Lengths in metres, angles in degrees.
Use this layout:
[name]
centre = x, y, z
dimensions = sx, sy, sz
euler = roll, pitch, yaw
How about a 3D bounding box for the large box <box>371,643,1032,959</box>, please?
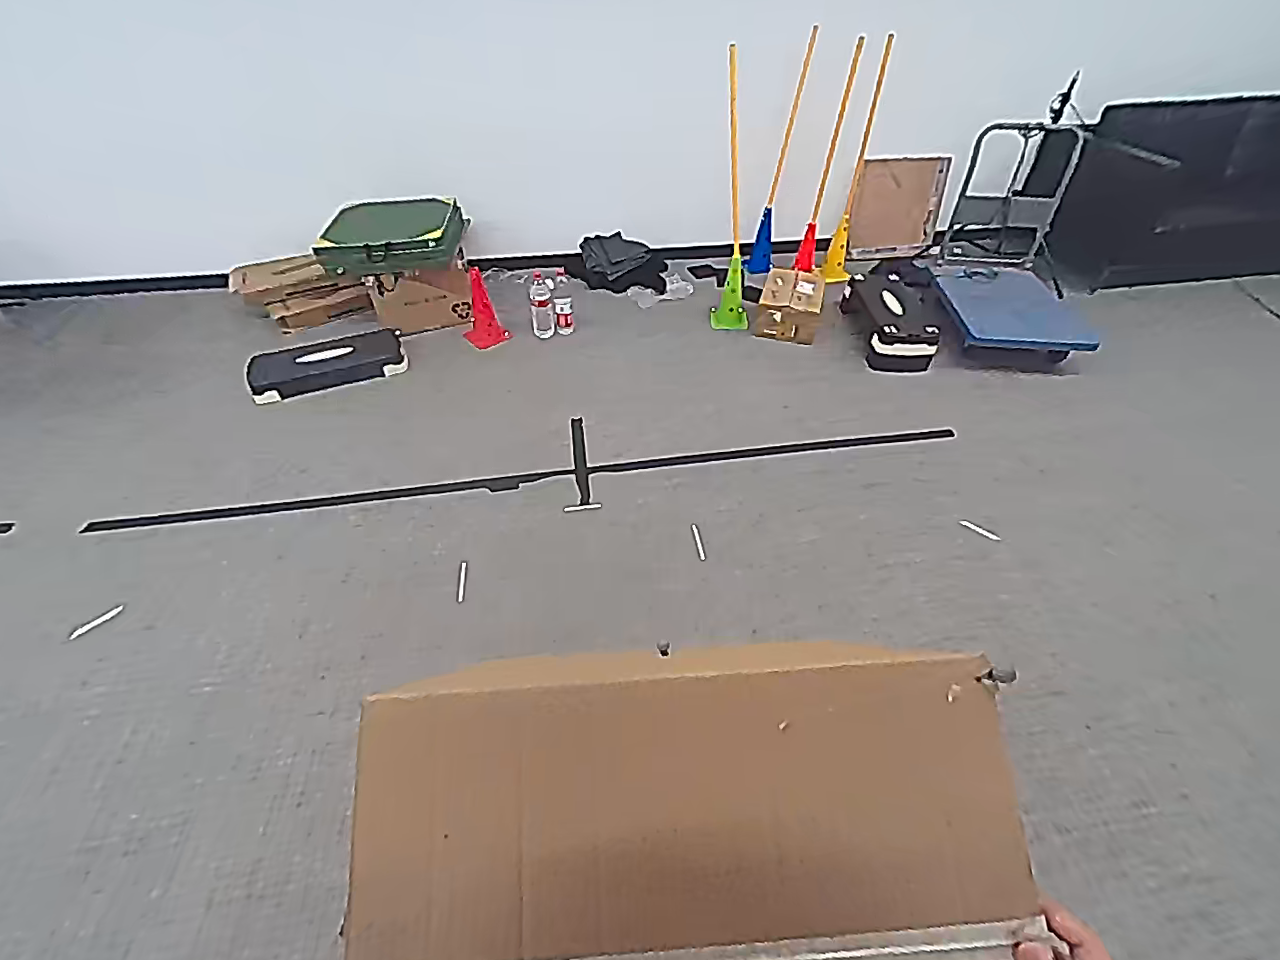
[large box]
centre = 0.033, 0.321, 0.469
dimensions = 0.408, 0.320, 0.320
euler = -4, 76, -3
